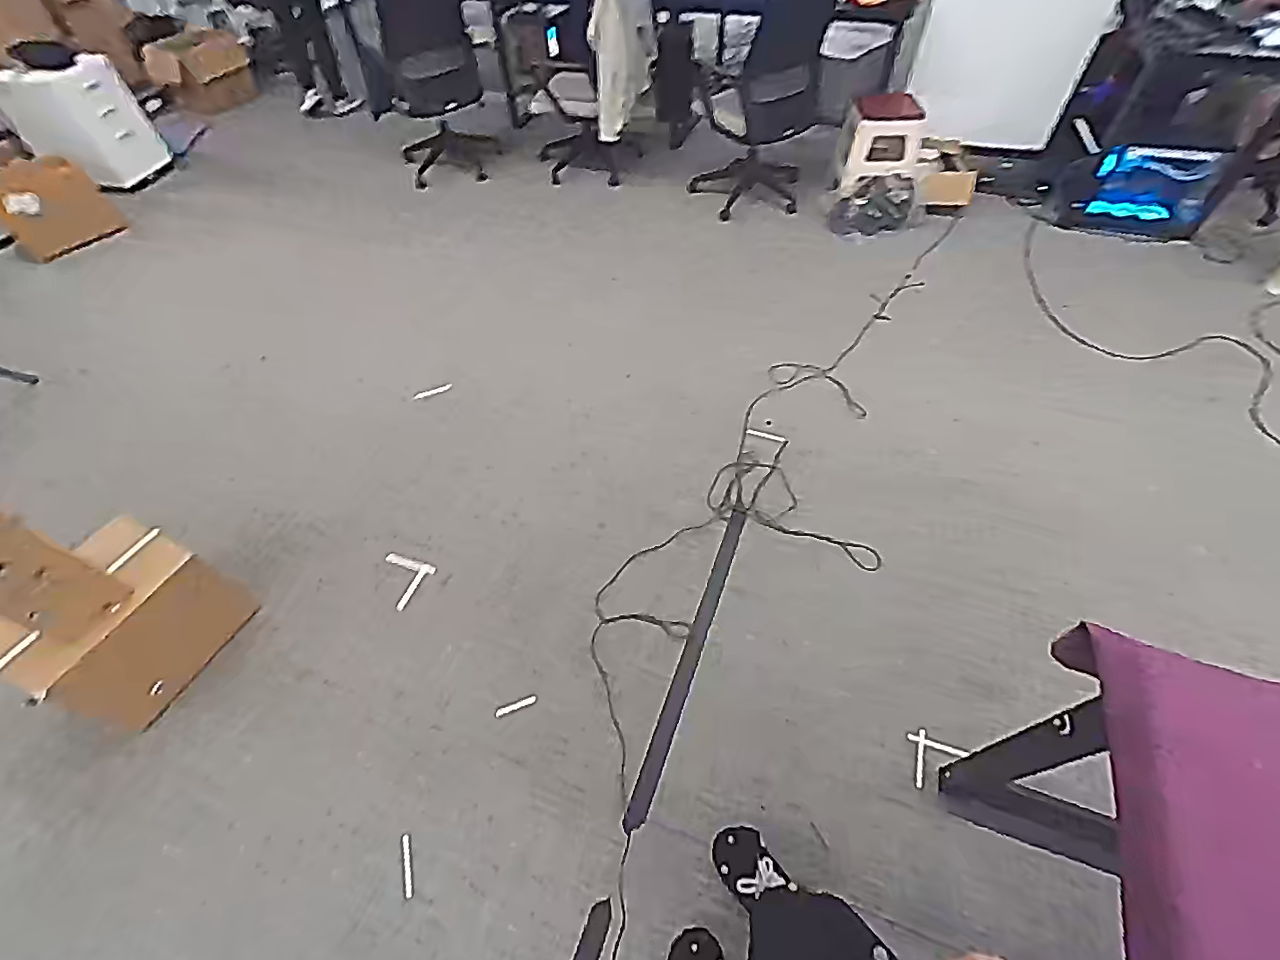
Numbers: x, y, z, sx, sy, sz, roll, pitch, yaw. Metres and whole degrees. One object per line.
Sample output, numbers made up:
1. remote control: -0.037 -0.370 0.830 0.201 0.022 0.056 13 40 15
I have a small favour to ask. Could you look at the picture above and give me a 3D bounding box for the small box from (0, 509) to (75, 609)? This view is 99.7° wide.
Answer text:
1. small box: -1.364 0.150 1.125 0.179 0.176 0.168 20 56 17
